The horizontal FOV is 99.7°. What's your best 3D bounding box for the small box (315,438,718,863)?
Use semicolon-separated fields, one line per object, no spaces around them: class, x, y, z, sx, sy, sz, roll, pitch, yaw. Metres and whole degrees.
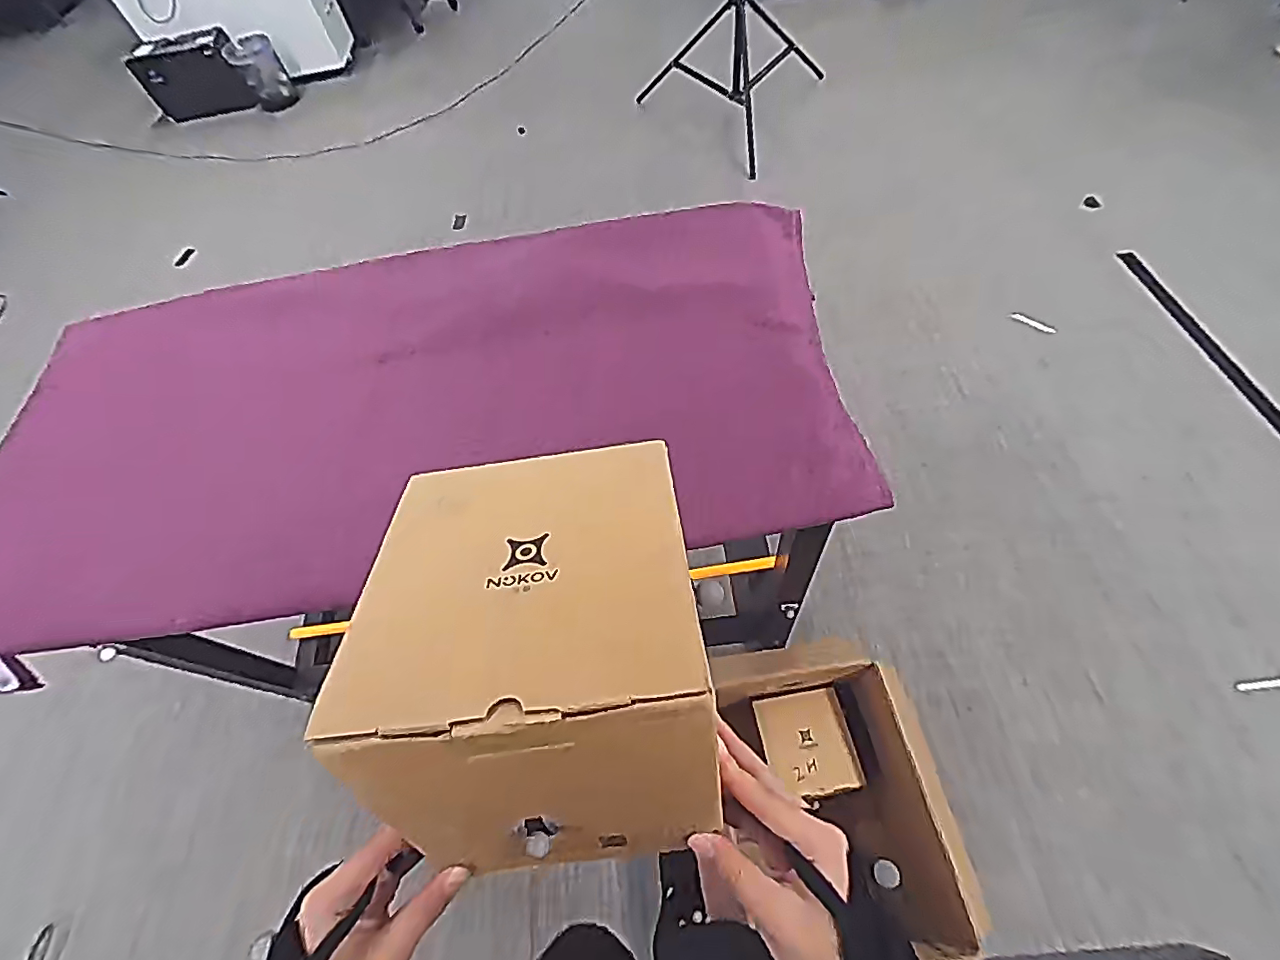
small box;-0.049;0.099;0.332;0.168;0.176;0.179;-9;39;1
